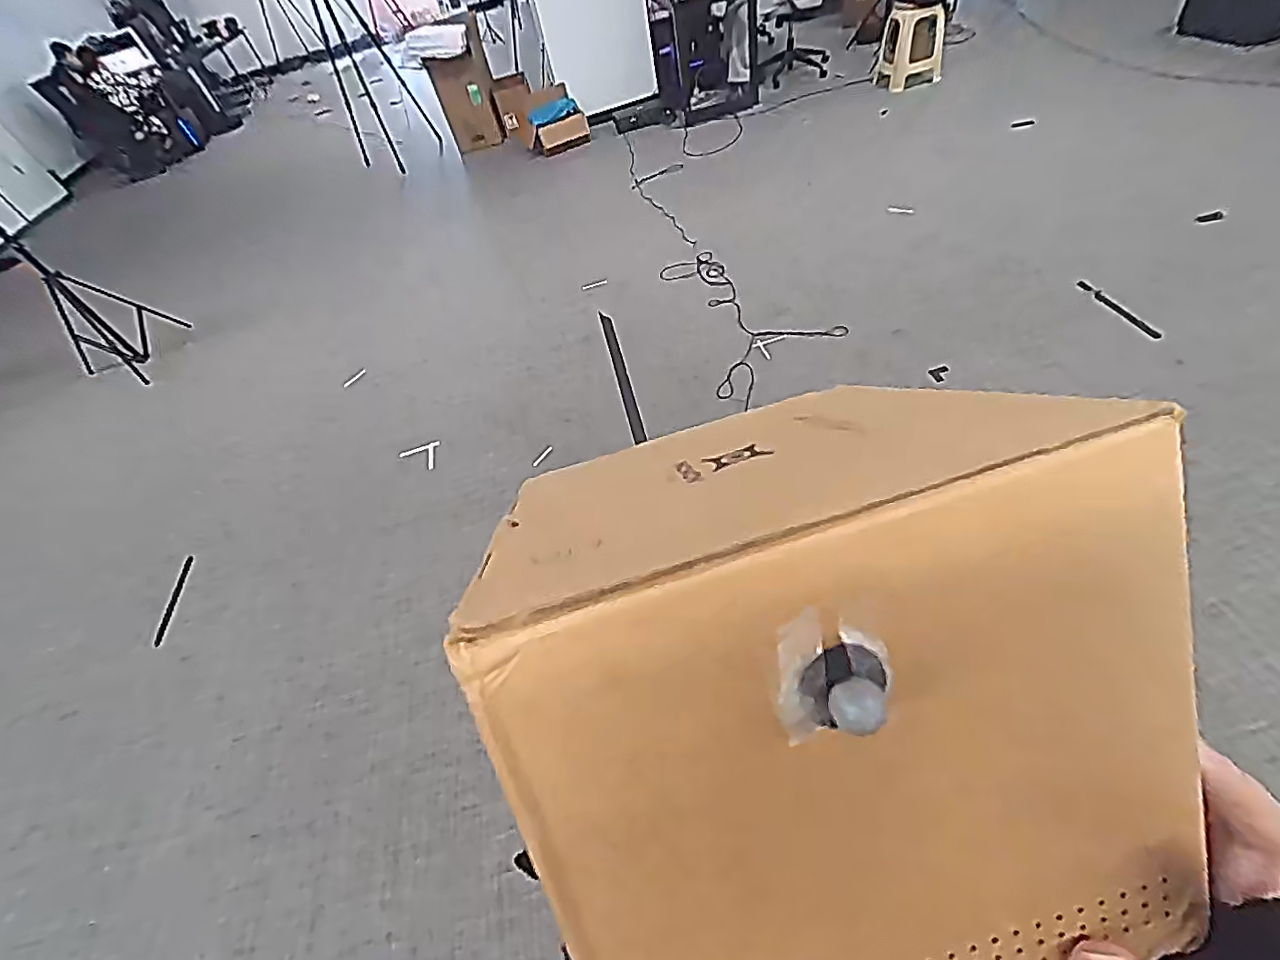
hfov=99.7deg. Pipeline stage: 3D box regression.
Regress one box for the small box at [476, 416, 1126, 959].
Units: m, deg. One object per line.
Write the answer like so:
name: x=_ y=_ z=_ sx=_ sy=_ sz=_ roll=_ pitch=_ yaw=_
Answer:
small box: x=0.056 y=0.082 z=0.232 sx=0.179 sy=0.176 sz=0.168 roll=-17 pitch=13 yaw=-2
